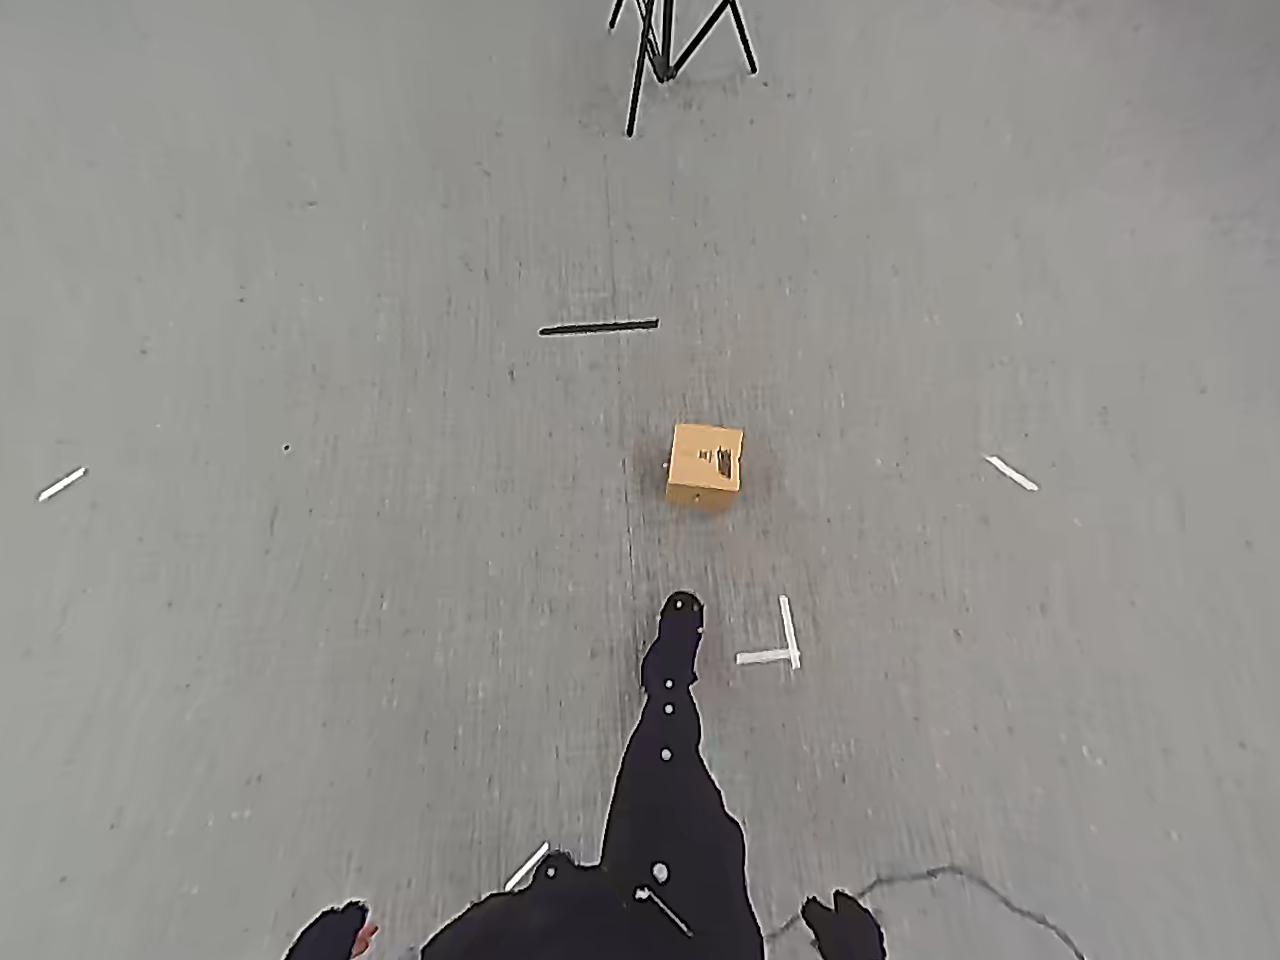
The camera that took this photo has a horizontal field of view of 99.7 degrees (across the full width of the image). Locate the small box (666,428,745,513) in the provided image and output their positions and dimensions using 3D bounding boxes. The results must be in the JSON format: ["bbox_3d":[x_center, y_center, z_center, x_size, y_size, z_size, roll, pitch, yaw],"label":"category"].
[{"bbox_3d":[0.167,-0.019,1.416,0.179,0.176,0.168,7,70,3],"label":"small box"}]
